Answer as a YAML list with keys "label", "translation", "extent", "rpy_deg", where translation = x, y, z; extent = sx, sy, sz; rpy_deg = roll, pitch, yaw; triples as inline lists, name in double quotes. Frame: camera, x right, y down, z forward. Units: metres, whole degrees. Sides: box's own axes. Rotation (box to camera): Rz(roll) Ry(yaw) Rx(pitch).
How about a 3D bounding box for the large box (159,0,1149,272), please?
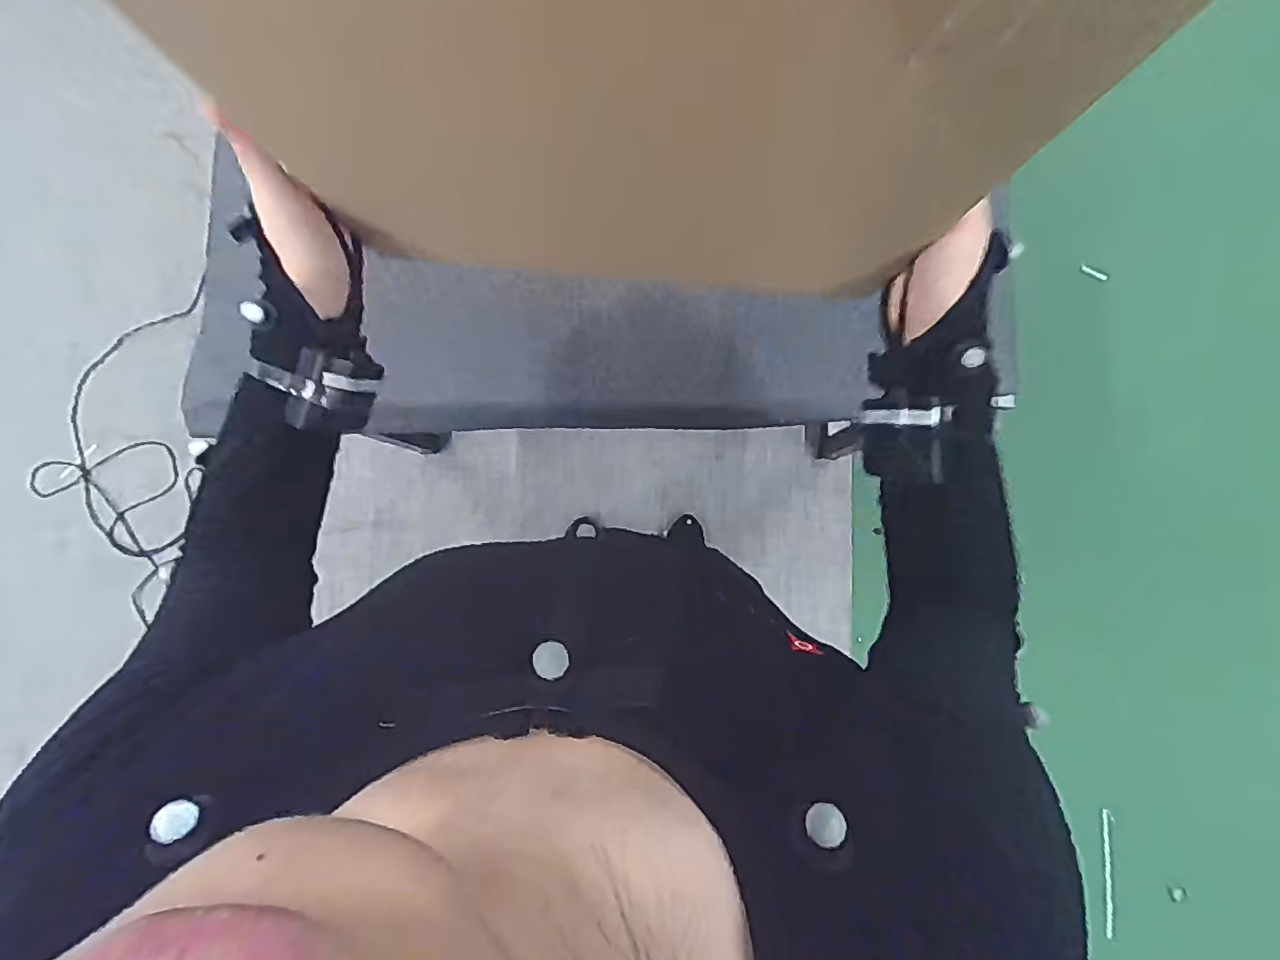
- label: "large box"
  translation: [0.000, -0.334, 0.293]
  extent: [0.408, 0.320, 0.320]
  rpy_deg: [4, 89, -1]
